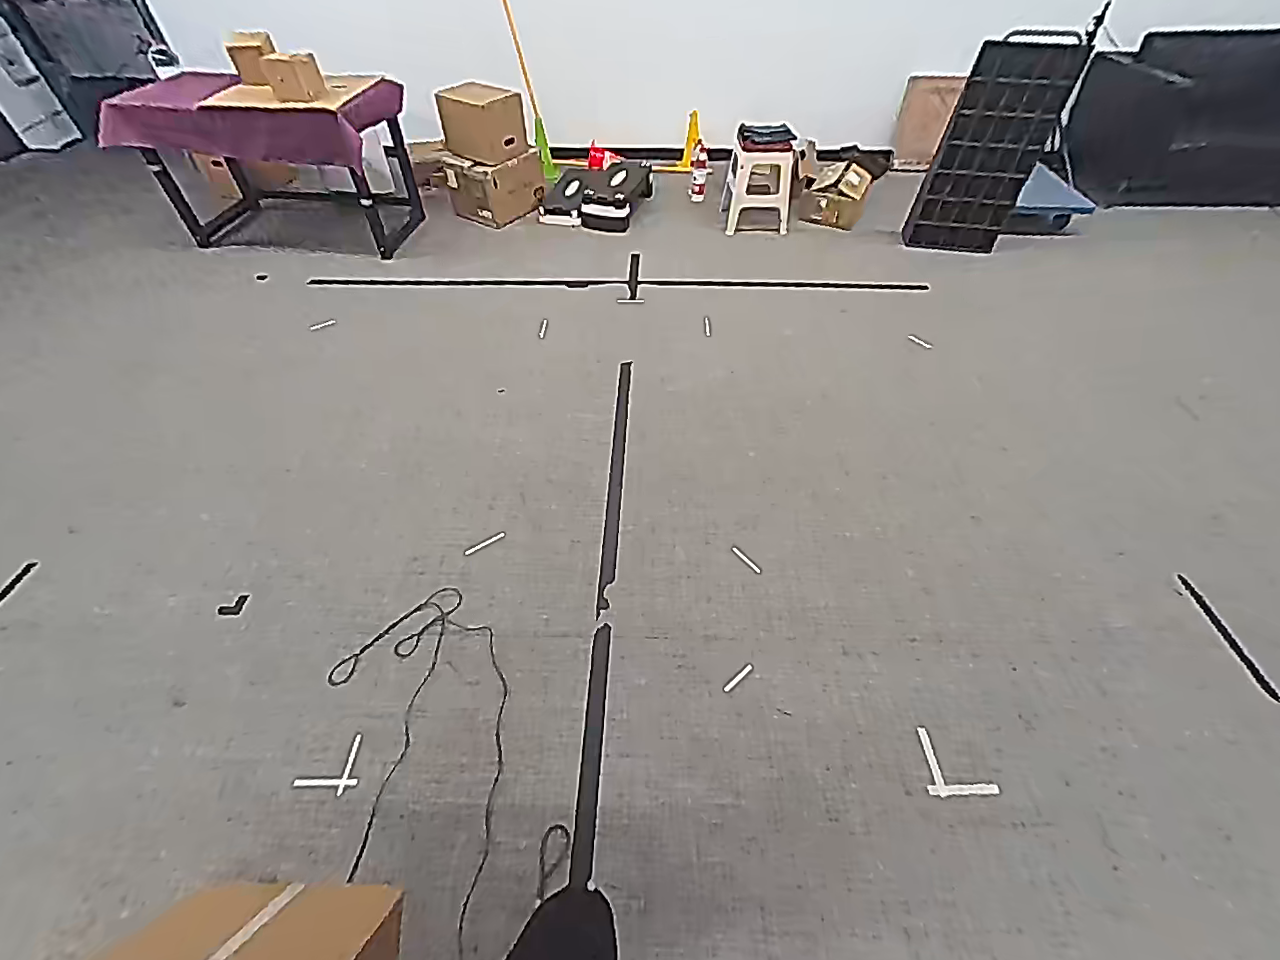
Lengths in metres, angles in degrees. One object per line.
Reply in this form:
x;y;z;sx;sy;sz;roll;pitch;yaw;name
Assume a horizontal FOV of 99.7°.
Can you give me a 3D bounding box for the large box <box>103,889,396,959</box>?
-0.520;0.740;0.603;0.320;0.408;0.320;2;78;-1;large box
